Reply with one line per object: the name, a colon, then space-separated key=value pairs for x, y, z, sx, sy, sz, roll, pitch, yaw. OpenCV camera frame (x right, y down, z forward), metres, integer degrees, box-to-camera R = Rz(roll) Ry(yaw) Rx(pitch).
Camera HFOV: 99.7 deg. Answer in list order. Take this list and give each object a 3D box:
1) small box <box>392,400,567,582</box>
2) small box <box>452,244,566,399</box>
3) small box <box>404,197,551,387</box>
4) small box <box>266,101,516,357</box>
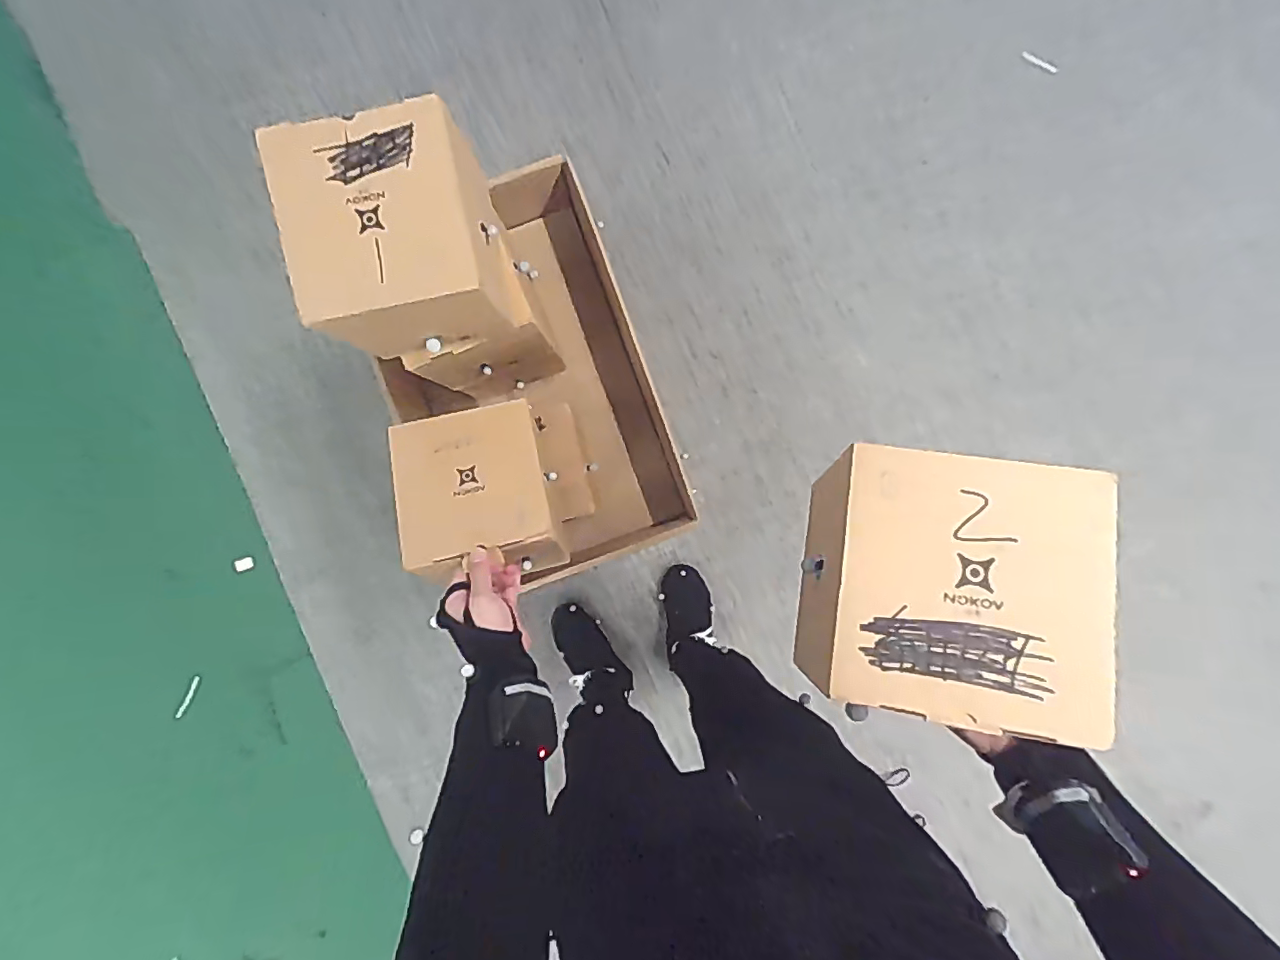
small box: x=-0.195 y=0.026 z=0.690 sx=0.168 sy=0.176 sz=0.179 roll=-12 pitch=70 yaw=-6
small box: x=-0.234 y=-0.249 z=0.893 sx=0.168 sy=0.176 sz=0.179 roll=-21 pitch=91 yaw=1
small box: x=-0.235 y=-0.243 z=0.732 sx=0.168 sy=0.176 sz=0.179 roll=-21 pitch=92 yaw=0
small box: x=-0.241 y=-0.243 z=0.567 sx=0.168 sy=0.176 sz=0.179 roll=-12 pitch=92 yaw=0
